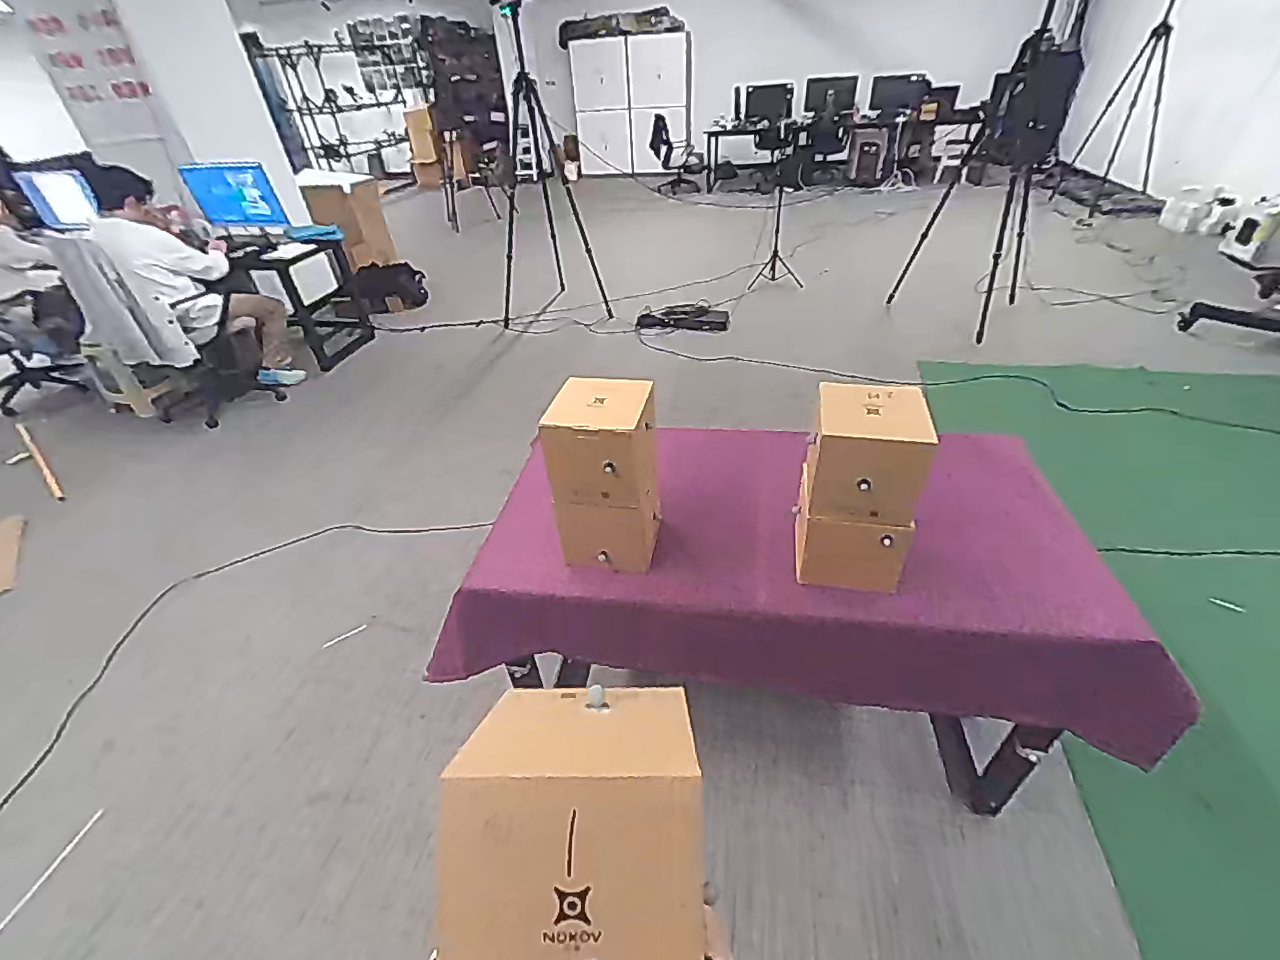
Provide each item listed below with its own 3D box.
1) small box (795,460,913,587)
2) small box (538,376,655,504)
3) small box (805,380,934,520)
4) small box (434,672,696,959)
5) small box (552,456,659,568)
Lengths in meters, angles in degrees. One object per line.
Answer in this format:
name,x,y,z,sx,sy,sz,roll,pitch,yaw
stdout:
small box,0.386,0.081,1.010,0.179,0.176,0.168,5,38,12
small box,-0.068,-0.074,0.992,0.168,0.176,0.179,5,38,12
small box,0.376,-0.052,0.914,0.168,0.176,0.179,6,39,13
small box,-0.045,0.262,0.416,0.168,0.179,0.176,-1,-3,0
small box,-0.059,0.058,1.088,0.179,0.176,0.168,4,38,11
